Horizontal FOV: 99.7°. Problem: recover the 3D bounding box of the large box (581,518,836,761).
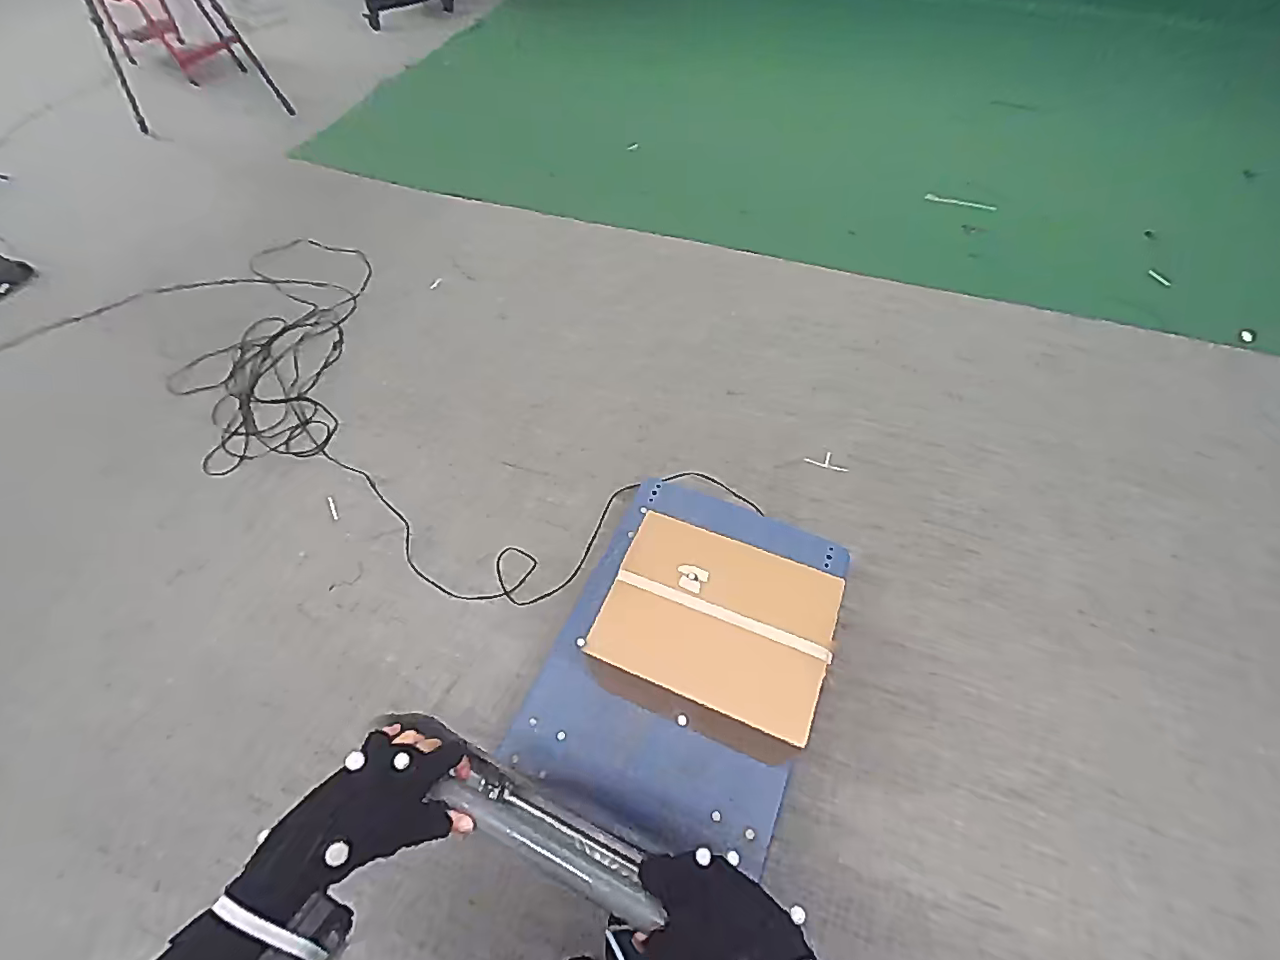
[{"bbox_3d":[0.143,0.334,1.122,0.408,0.320,0.320,18,59,16],"label":"large box"}]
